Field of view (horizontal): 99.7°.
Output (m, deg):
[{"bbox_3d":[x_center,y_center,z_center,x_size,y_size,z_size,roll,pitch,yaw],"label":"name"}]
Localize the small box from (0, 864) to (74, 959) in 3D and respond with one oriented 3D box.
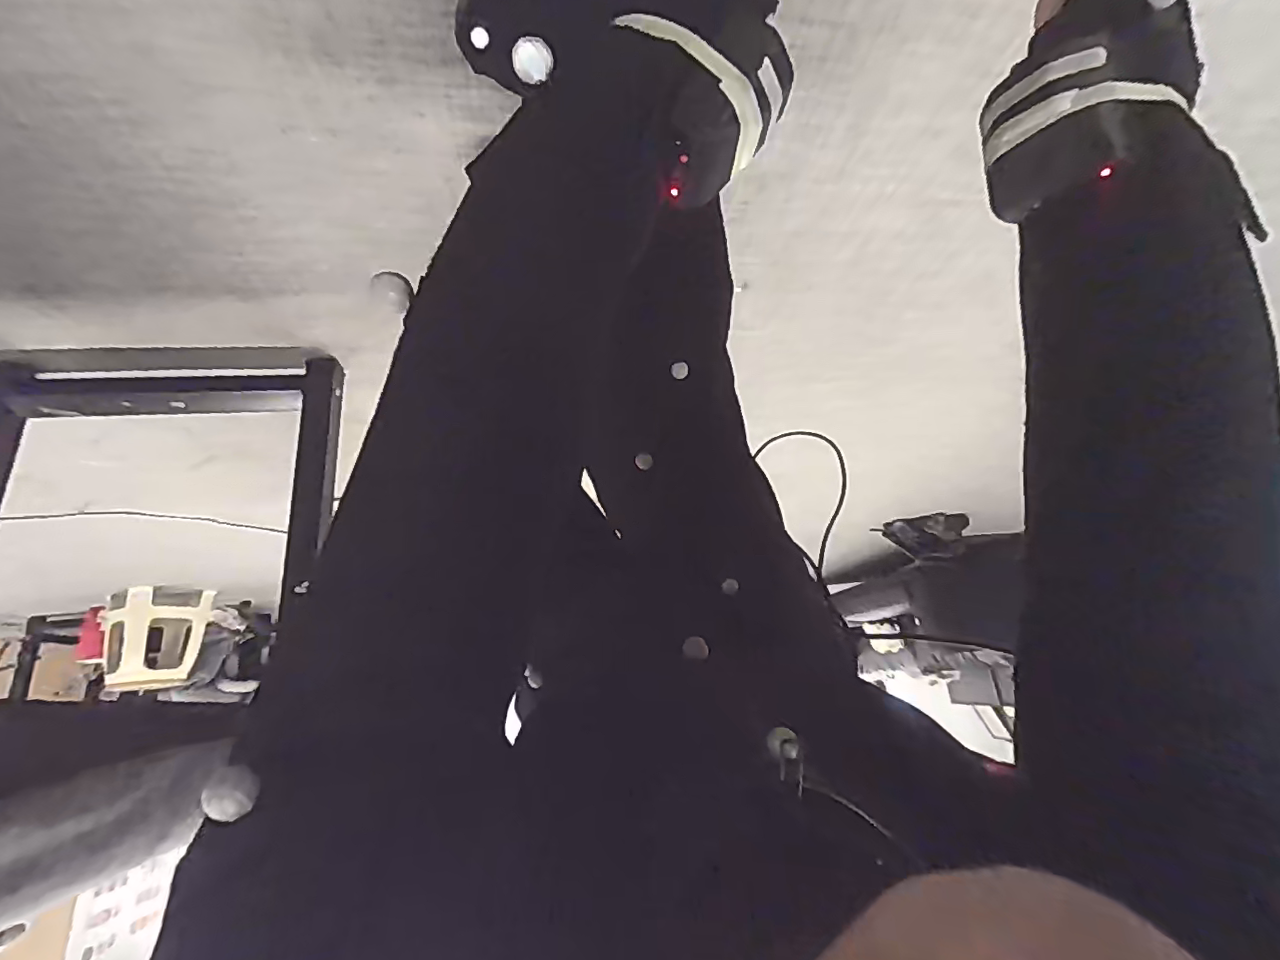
[{"bbox_3d":[-0.641,0.441,0.443,0.179,0.176,0.168,-4,160,-6],"label":"small box"}]
